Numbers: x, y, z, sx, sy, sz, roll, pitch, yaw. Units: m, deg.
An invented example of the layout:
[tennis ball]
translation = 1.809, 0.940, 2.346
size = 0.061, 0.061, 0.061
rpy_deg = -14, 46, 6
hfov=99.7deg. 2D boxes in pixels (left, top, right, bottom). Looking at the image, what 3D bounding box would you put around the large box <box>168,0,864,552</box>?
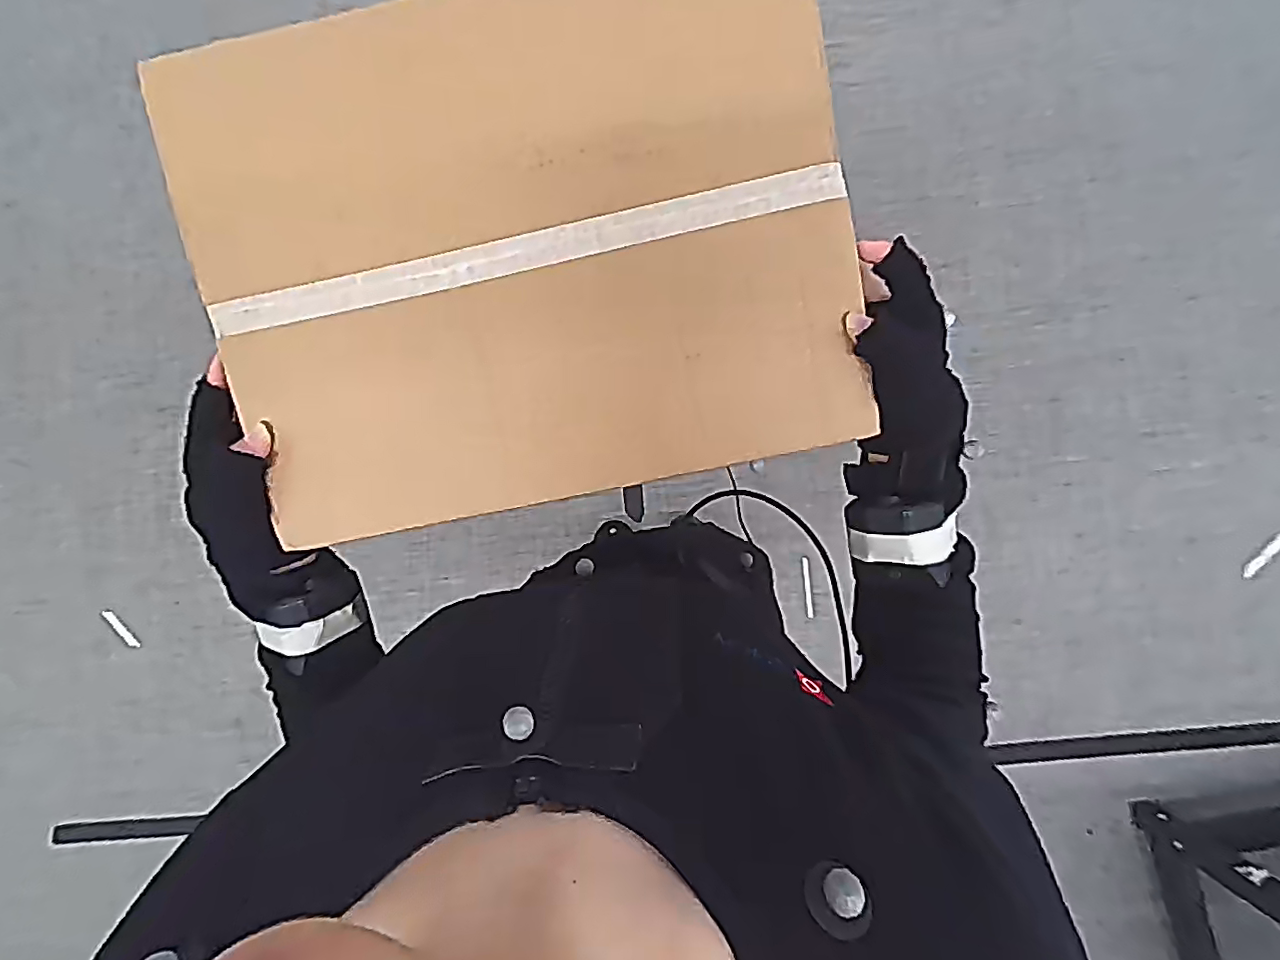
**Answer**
[large box]
translation = -0.070, -0.159, 0.496
size = 0.408, 0.320, 0.320
rpy_deg = -12, 97, 3
